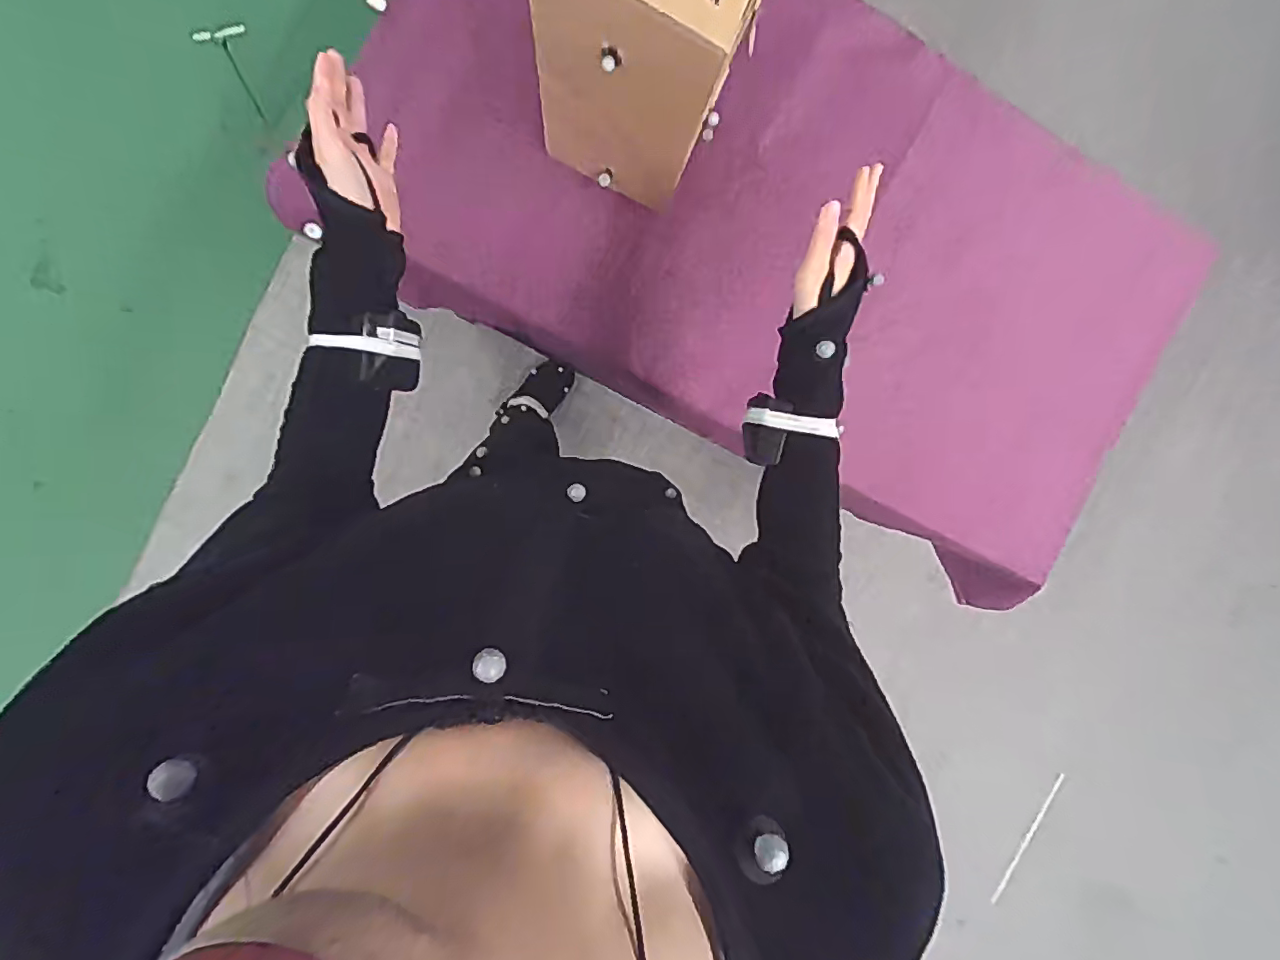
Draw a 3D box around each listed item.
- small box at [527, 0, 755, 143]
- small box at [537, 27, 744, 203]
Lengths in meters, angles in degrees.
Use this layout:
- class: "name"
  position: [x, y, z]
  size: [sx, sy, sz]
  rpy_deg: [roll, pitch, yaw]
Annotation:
- class: "small box"
  position: [0.012, -0.448, 0.489]
  size: [0.179, 0.176, 0.168]
  rpy_deg: [24, 93, -7]
- class: "small box"
  position: [-0.007, -0.467, 0.651]
  size: [0.179, 0.176, 0.168]
  rpy_deg: [24, 93, -9]
